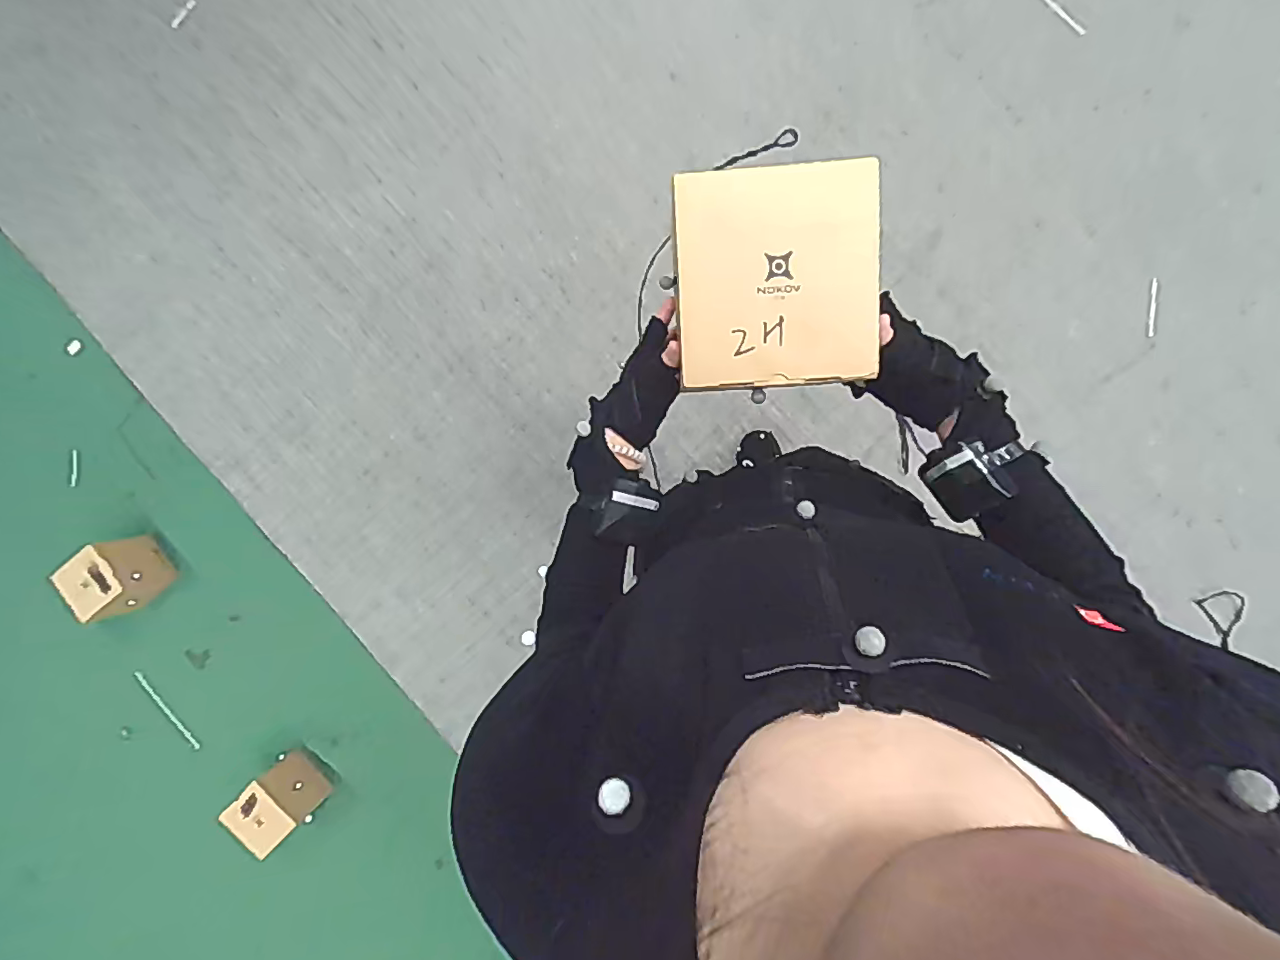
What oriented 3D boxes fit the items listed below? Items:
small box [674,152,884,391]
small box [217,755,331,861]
[{"bbox_3d":[0.118,-0.180,0.519,0.168,0.176,0.179,-3,98,4],"label":"small box"},{"bbox_3d":[-1.061,0.944,1.582,0.179,0.176,0.168,45,97,1],"label":"small box"}]
